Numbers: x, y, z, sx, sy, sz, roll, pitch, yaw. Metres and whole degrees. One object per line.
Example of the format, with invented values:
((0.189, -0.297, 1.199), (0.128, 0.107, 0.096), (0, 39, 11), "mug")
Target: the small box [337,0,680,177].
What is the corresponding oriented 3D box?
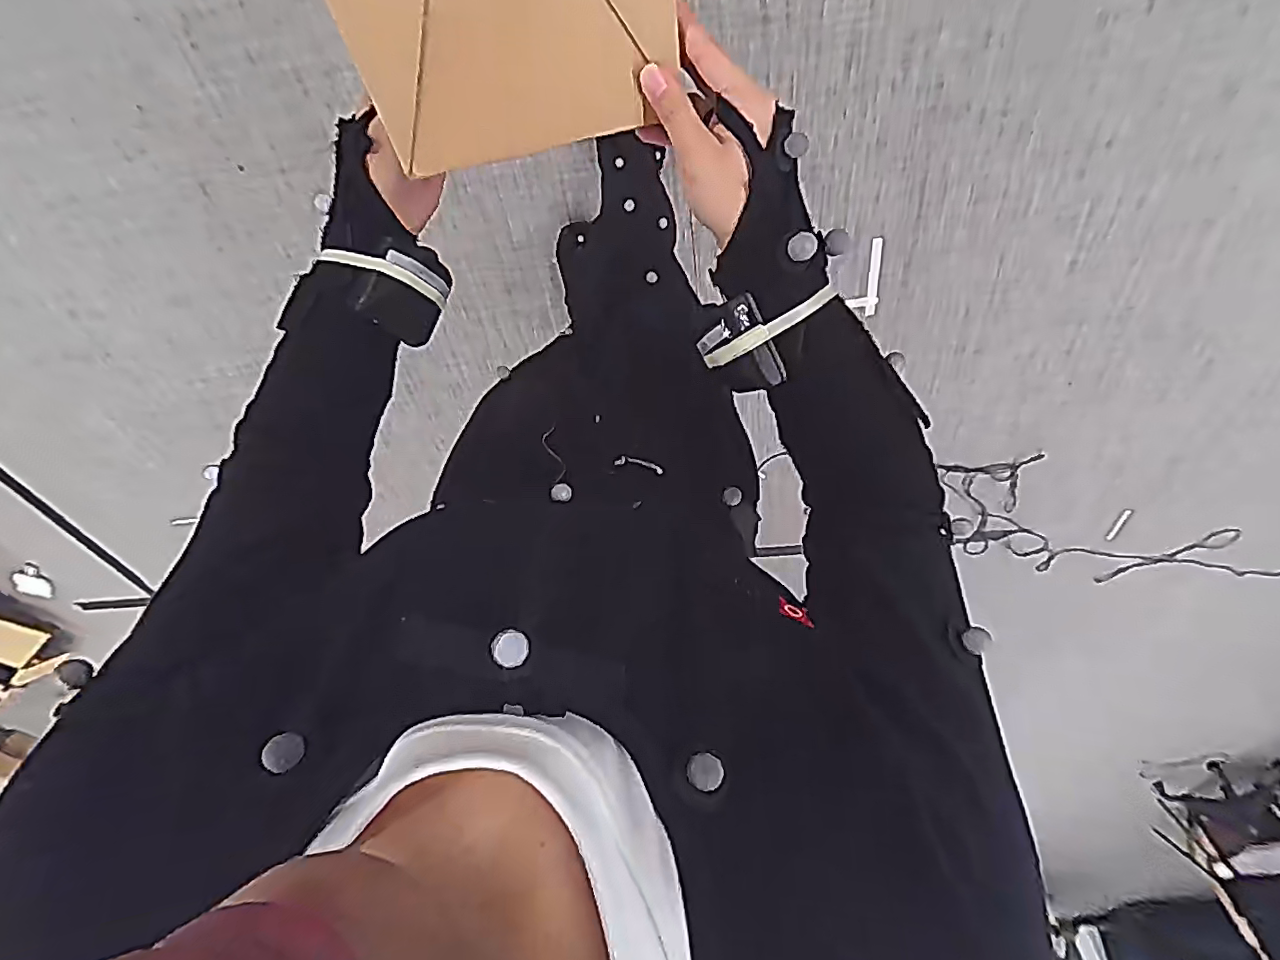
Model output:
((-0.079, -0.307, 0.297), (0.168, 0.176, 0.179), (-14, 143, -2), "small box")
